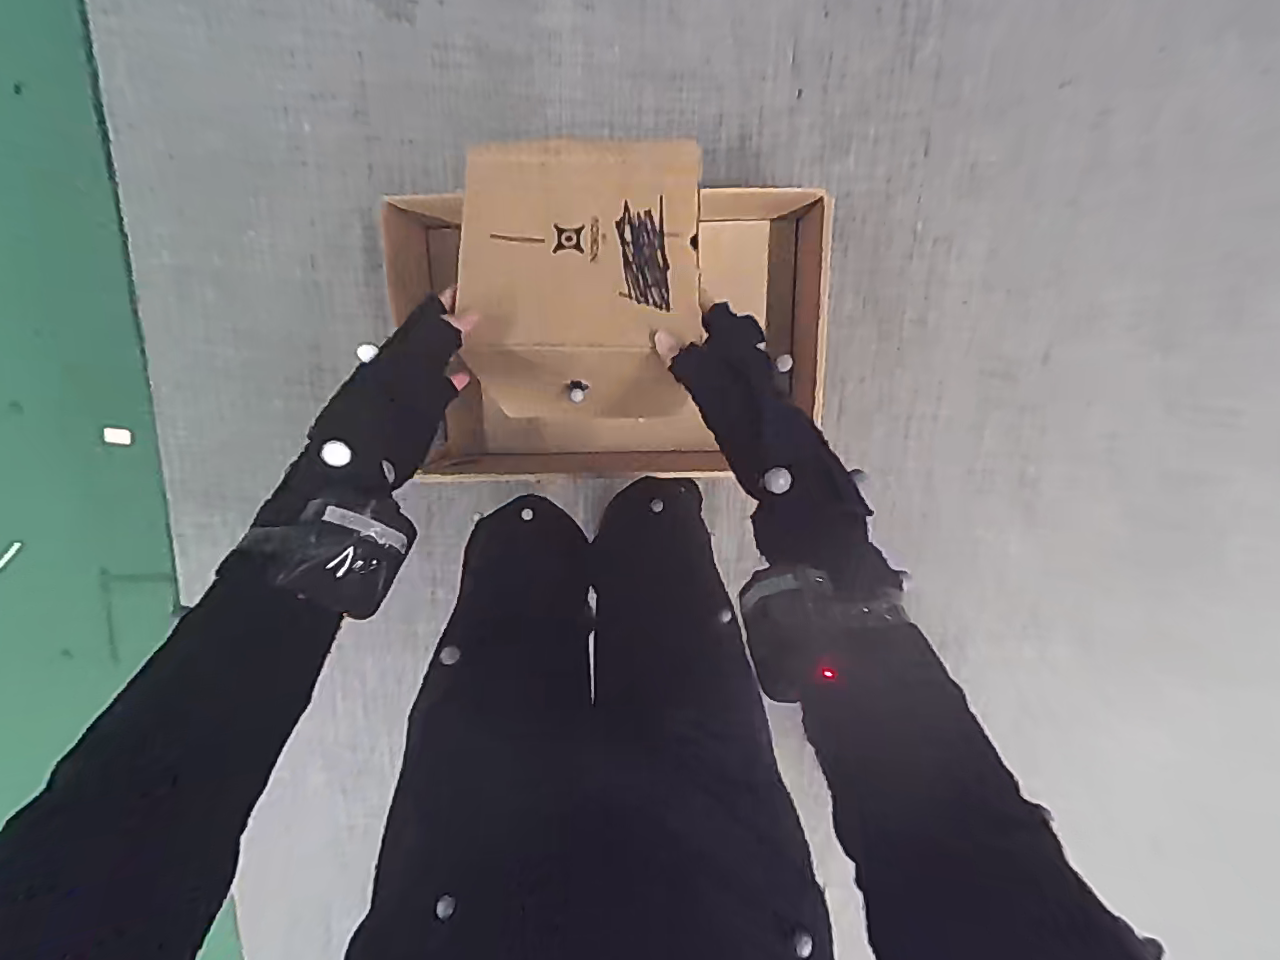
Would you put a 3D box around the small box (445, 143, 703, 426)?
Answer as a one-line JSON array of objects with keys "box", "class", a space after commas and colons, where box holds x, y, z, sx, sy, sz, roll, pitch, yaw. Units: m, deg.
[{"box": [-0.043, -0.147, 0.458, 0.179, 0.176, 0.168, 1, 80, 1], "class": "small box"}]
